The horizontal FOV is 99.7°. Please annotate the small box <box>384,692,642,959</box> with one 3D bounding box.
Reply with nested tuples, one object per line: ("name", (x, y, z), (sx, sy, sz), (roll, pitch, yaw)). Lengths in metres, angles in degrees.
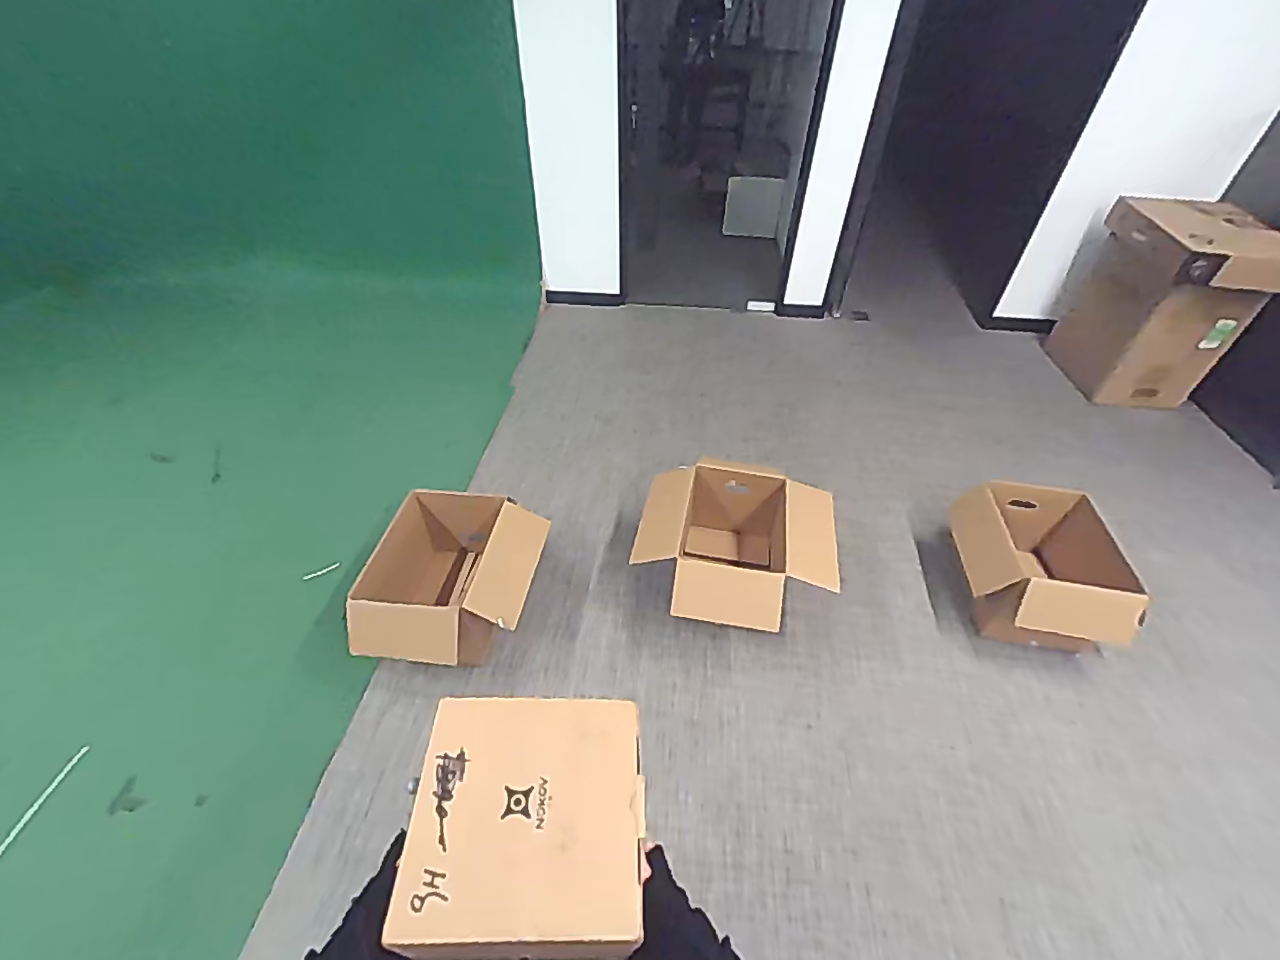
("small box", (-0.096, 0.310, 0.481), (0.179, 0.176, 0.168), (5, 44, -5))
